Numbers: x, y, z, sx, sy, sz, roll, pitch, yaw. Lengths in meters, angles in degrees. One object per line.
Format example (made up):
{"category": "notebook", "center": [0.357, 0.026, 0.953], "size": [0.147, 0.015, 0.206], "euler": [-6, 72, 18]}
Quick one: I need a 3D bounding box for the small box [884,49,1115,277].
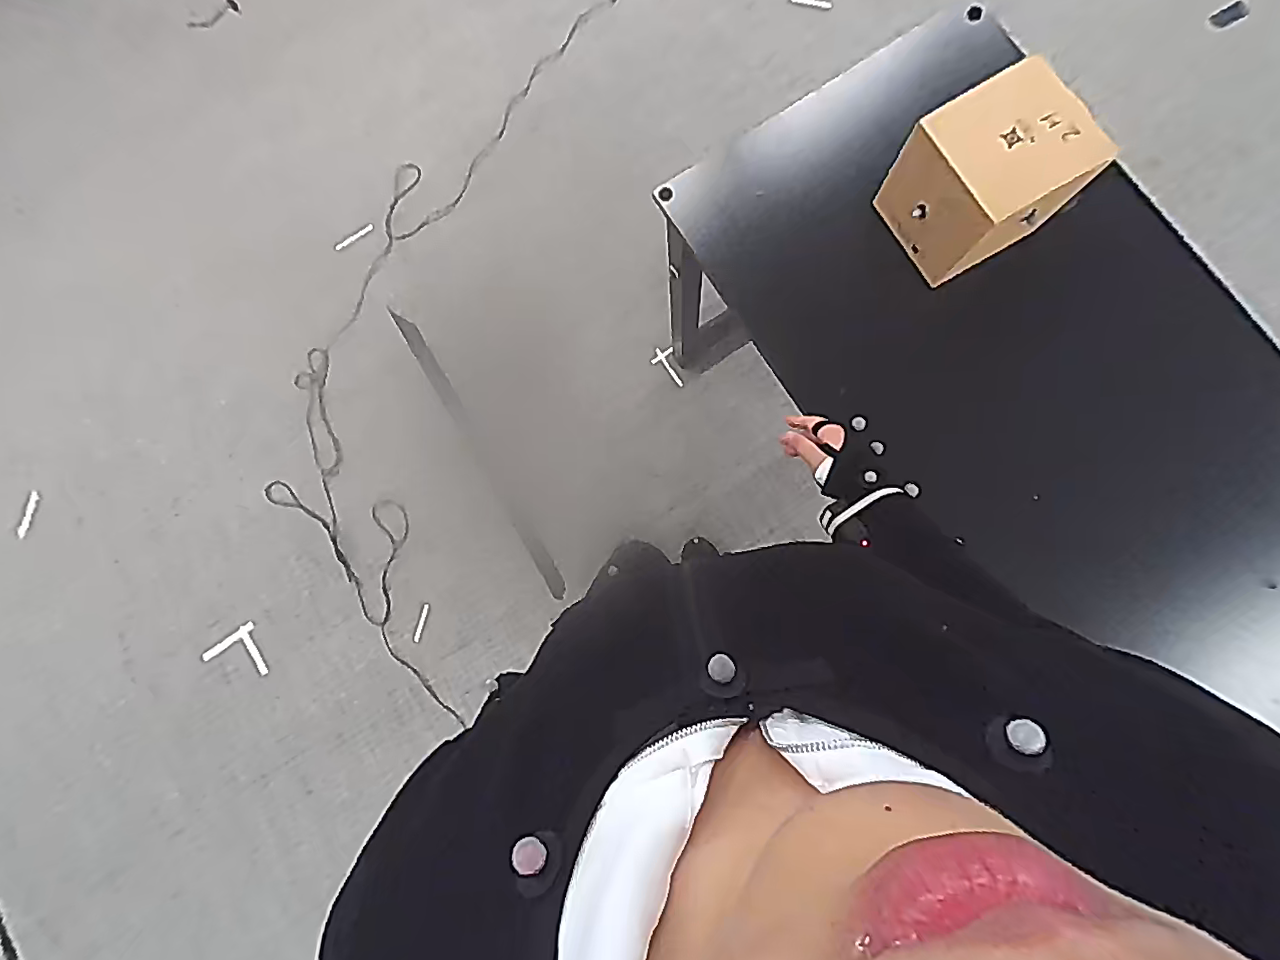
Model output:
{"category": "small box", "center": [0.463, -0.413, 0.736], "size": [0.179, 0.176, 0.168], "euler": [-30, 82, 0]}
